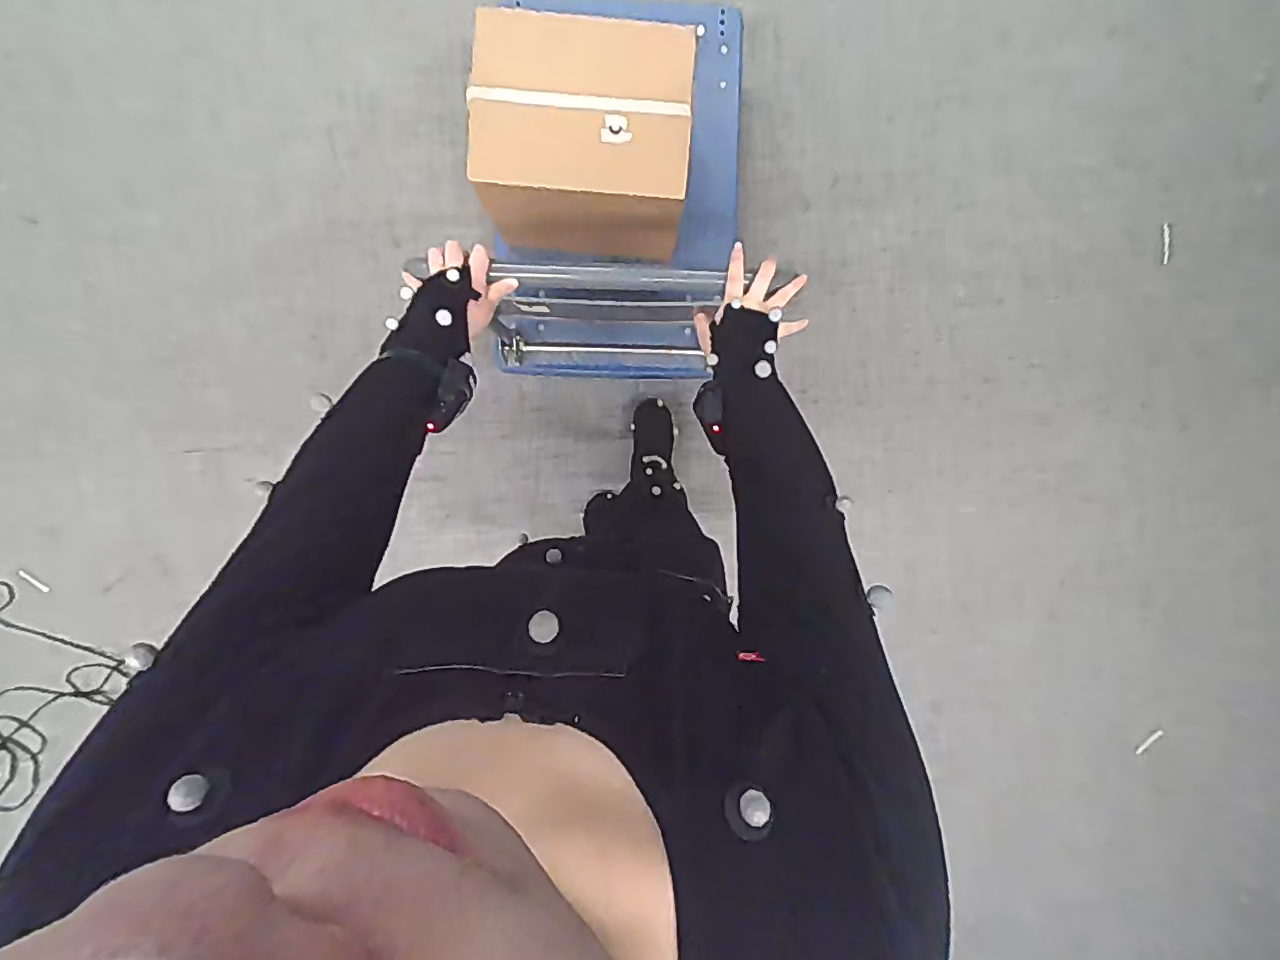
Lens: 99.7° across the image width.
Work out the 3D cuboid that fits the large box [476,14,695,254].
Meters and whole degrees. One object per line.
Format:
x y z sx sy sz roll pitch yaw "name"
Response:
-0.110 -0.703 1.155 0.408 0.320 0.320 4 92 -3 "large box"
